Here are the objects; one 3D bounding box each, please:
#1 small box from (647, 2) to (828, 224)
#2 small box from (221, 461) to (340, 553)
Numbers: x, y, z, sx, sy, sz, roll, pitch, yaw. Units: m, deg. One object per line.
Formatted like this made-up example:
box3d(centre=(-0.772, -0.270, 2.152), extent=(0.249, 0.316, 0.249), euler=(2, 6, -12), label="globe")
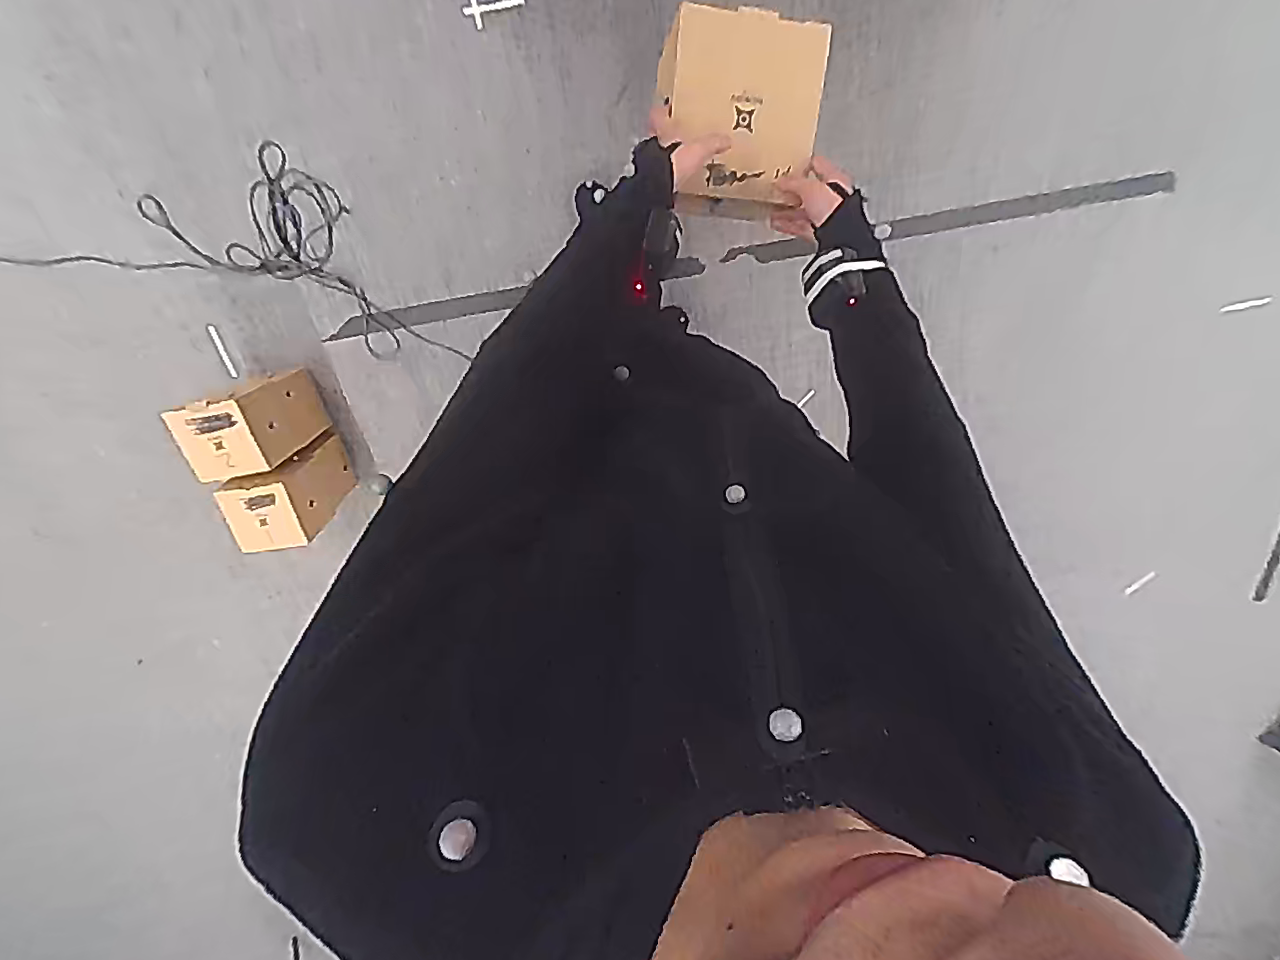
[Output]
box3d(centre=(0.102, -0.422, 0.656), extent=(0.168, 0.176, 0.179), euler=(3, 109, -6), label="small box")
box3d(centre=(-0.906, 0.060, 1.382), extent=(0.168, 0.176, 0.179), euler=(-6, 118, -1), label="small box")
